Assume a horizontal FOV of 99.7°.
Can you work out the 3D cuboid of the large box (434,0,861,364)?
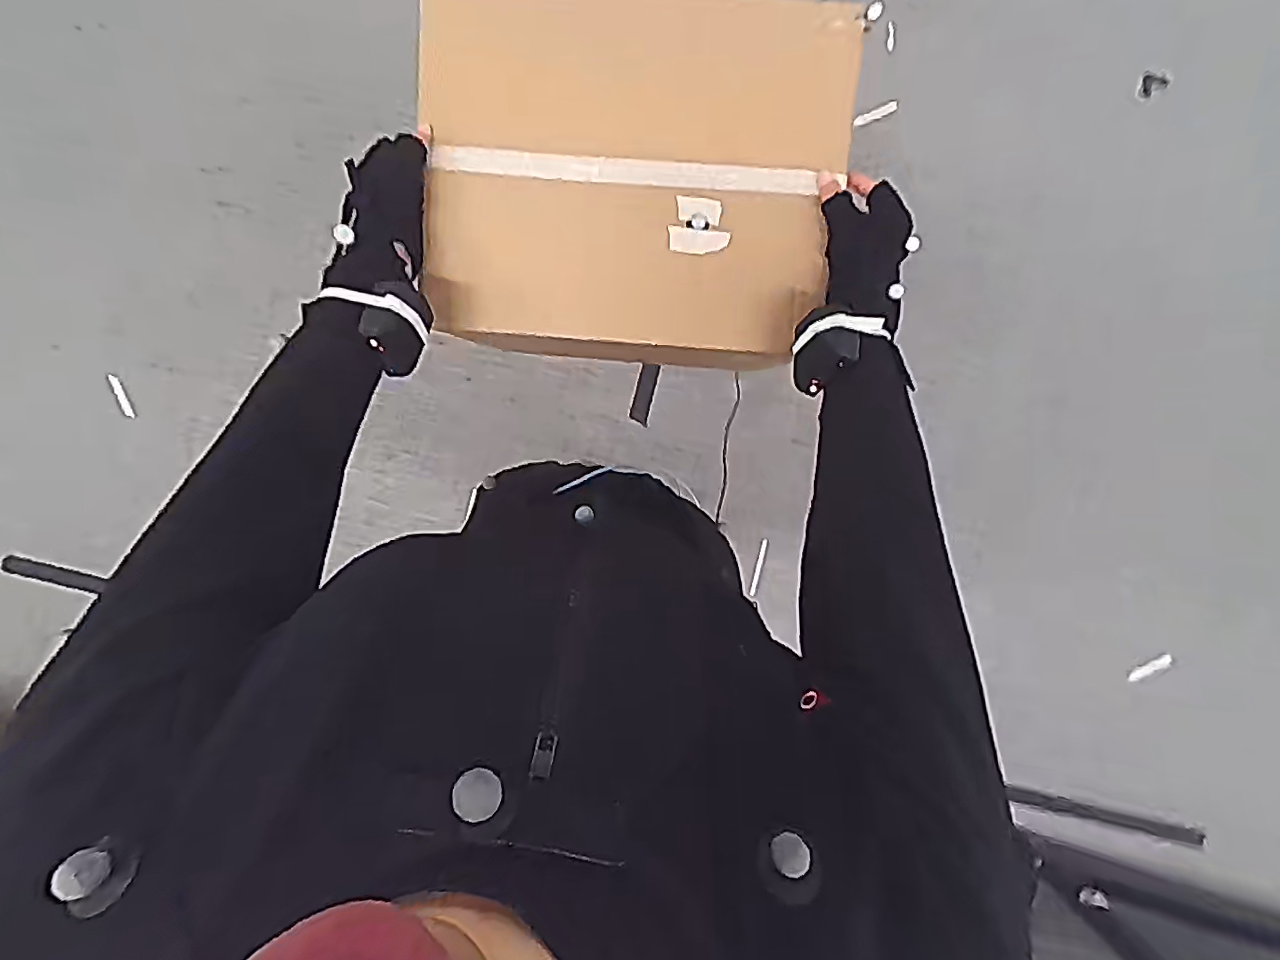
[{"bbox_3d":[-0.002,-0.322,0.670,0.408,0.320,0.320,5,99,-1],"label":"large box"}]
